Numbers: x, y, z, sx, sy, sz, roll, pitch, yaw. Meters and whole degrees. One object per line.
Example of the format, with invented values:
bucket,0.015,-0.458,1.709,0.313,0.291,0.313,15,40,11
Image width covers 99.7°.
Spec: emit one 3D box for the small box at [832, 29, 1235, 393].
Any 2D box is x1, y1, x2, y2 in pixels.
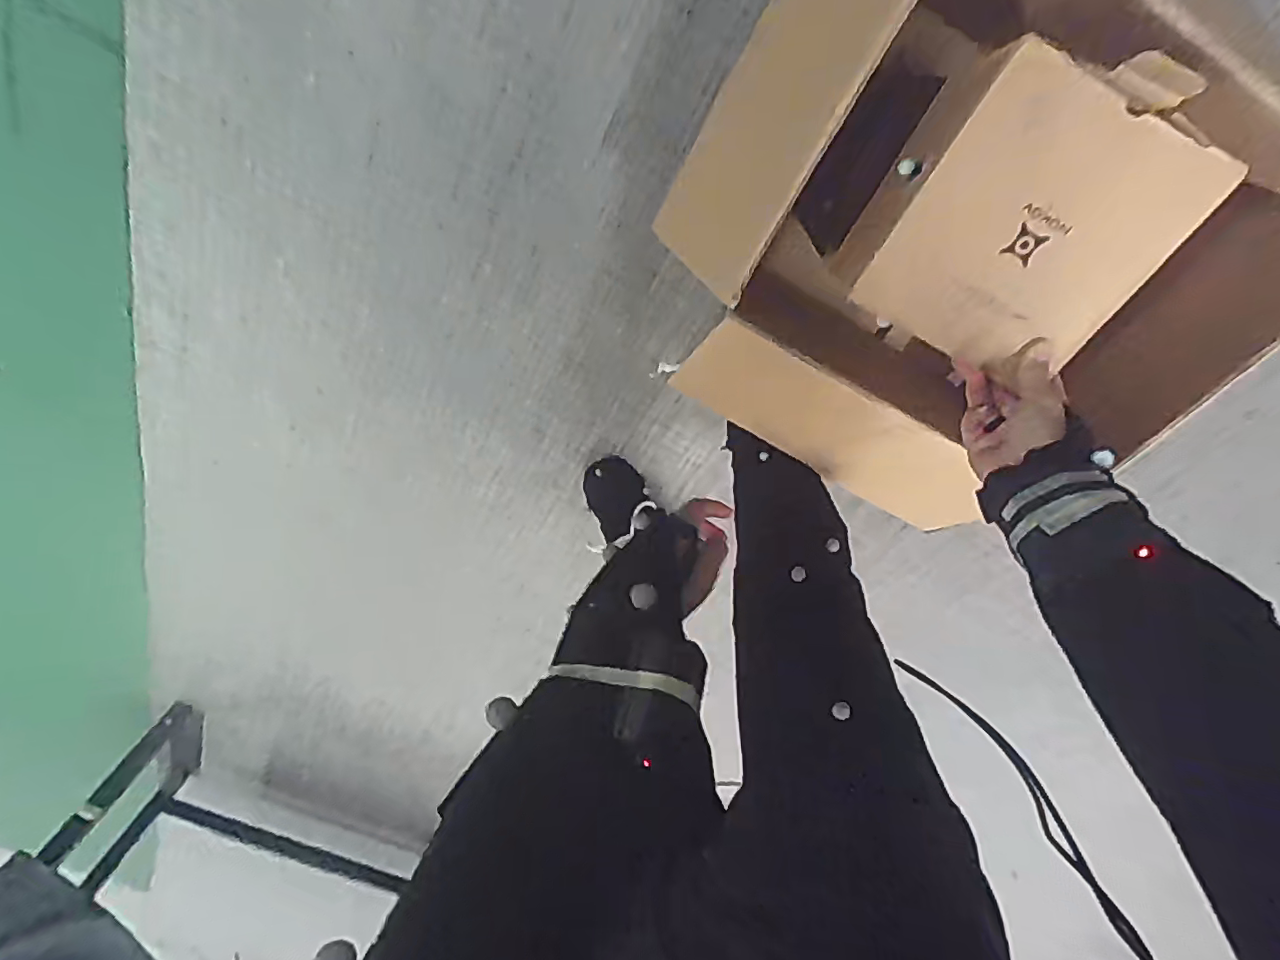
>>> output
small box,0.278,-0.206,0.441,0.168,0.176,0.179,29,120,-3
